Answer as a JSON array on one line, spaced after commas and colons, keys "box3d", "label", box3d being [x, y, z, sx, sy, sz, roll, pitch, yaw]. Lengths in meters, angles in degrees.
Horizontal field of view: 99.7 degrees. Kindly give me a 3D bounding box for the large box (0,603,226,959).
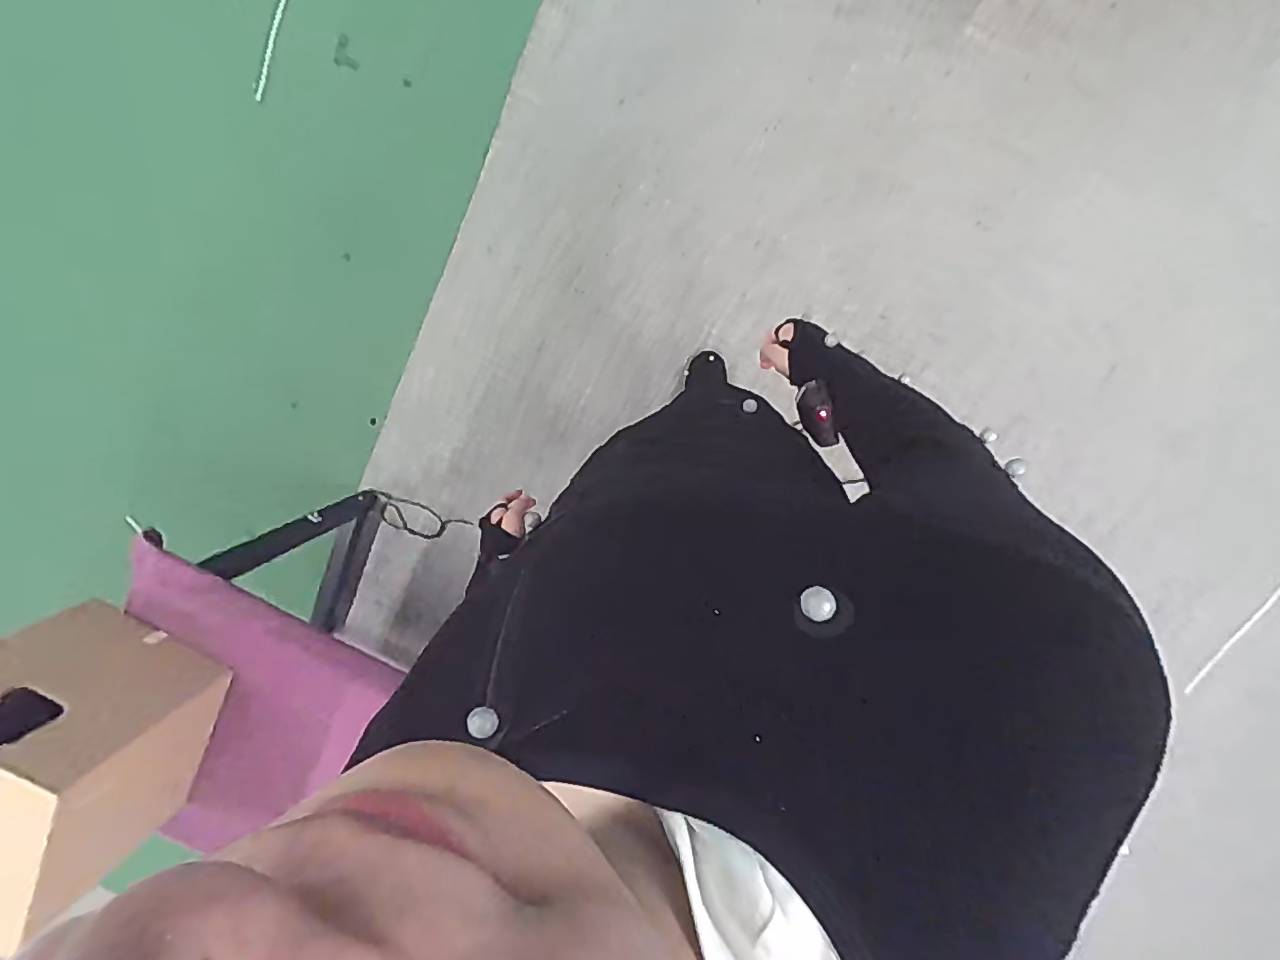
[{"box3d": [-1.044, 0.508, 0.966, 0.320, 0.320, 0.408, 28, 105, -3], "label": "large box"}]
